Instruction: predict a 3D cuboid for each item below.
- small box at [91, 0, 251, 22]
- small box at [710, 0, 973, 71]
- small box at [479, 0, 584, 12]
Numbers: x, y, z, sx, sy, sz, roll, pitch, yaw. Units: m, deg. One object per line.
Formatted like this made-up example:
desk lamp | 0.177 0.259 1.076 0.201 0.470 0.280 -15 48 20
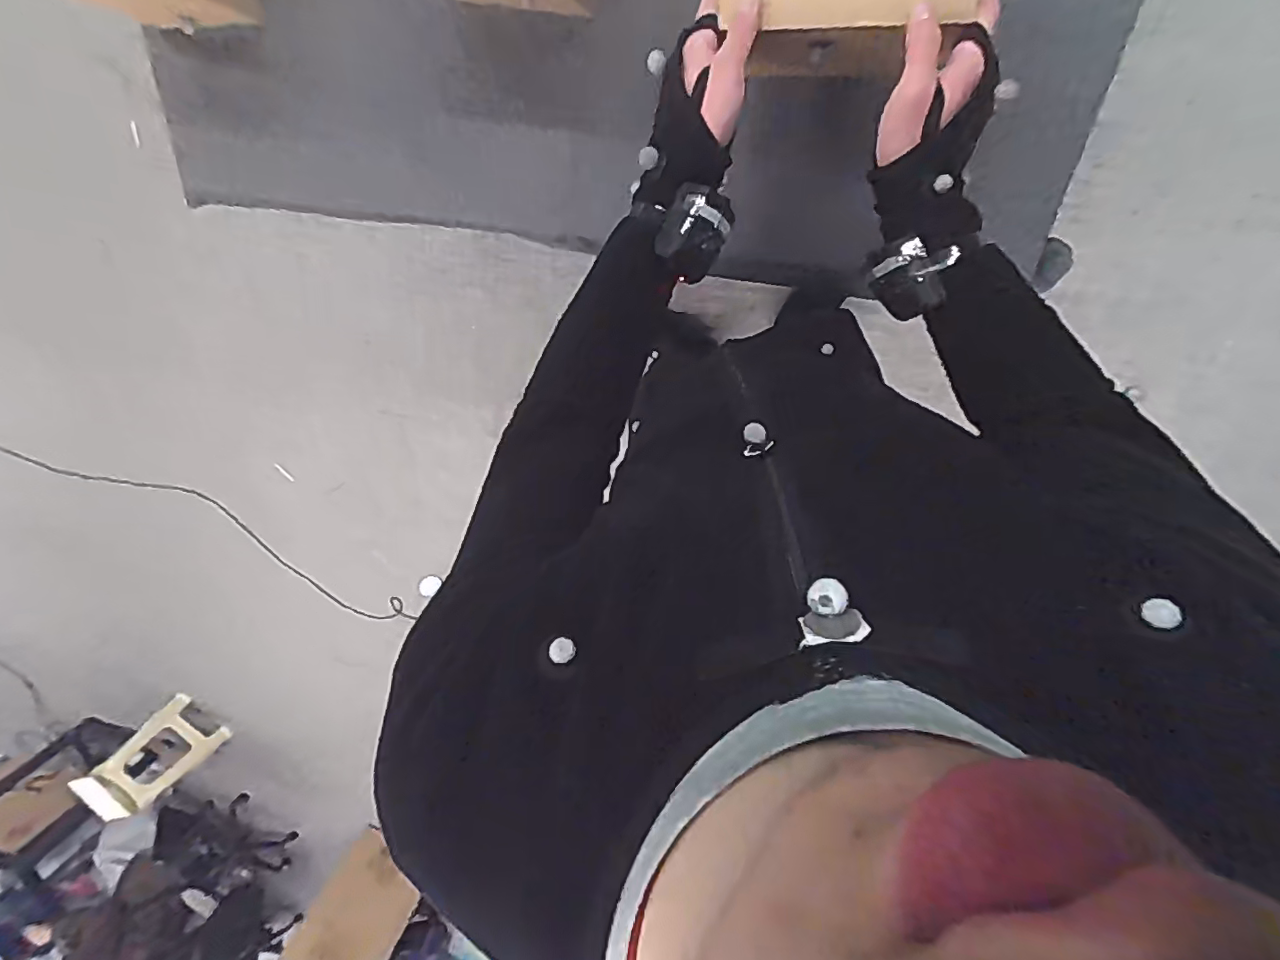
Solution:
small box | -0.589 -0.653 0.617 0.179 0.176 0.168 7 116 10
small box | 0.160 -0.422 0.404 0.179 0.176 0.168 10 119 13
small box | -0.139 -0.595 0.529 0.179 0.176 0.168 15 117 9
